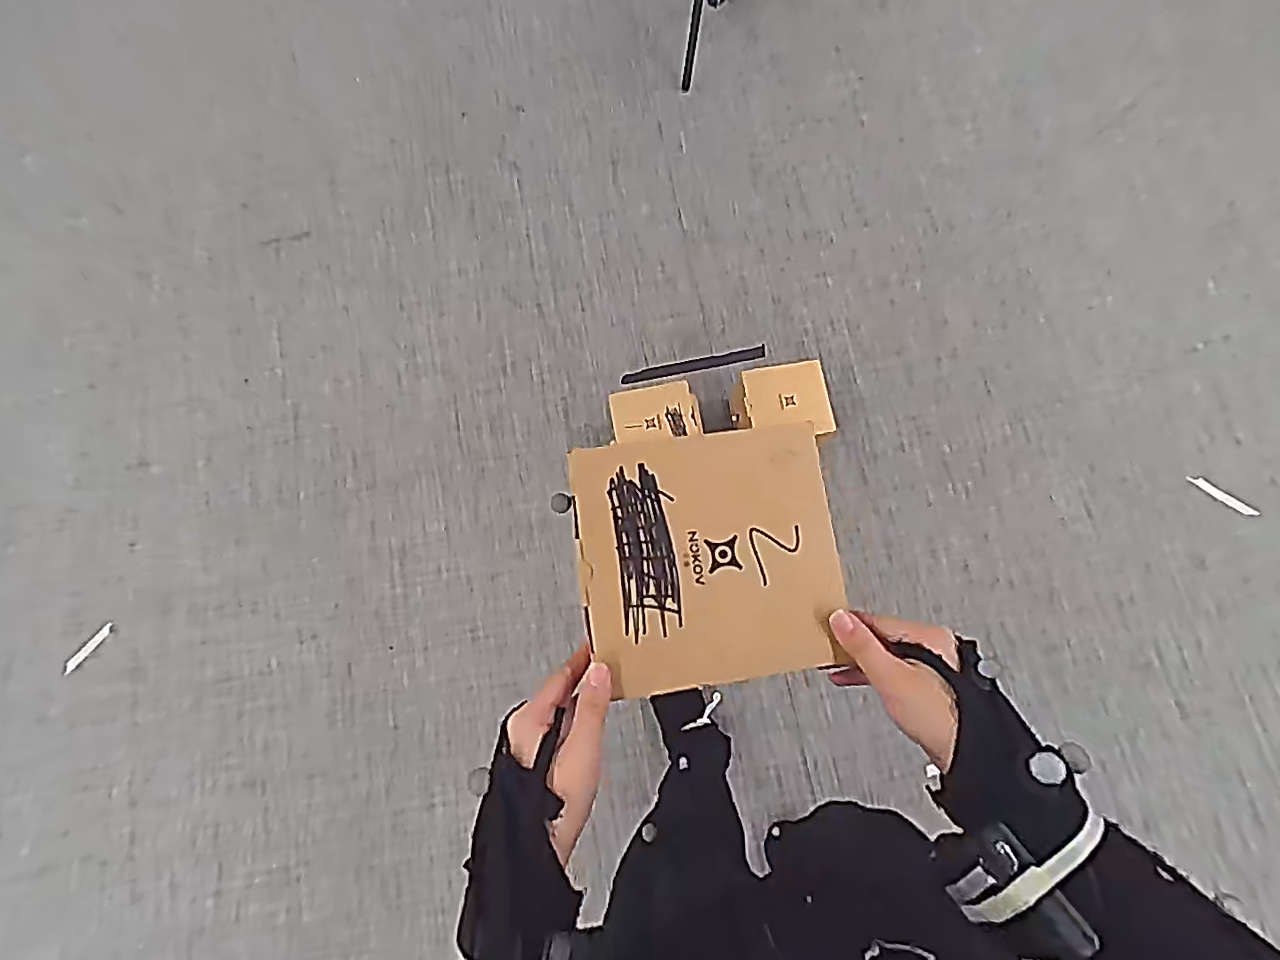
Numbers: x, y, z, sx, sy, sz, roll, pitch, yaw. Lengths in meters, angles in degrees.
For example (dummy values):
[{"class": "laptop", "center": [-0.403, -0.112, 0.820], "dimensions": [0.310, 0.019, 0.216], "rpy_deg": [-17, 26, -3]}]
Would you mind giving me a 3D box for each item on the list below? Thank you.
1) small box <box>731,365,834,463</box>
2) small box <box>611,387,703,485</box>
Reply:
[{"class": "small box", "center": [0.315, -0.143, 1.230], "dimensions": [0.179, 0.176, 0.168], "rpy_deg": [-9, 78, 0]}, {"class": "small box", "center": [0.035, -0.094, 1.225], "dimensions": [0.179, 0.176, 0.168], "rpy_deg": [-10, 78, 0]}]
